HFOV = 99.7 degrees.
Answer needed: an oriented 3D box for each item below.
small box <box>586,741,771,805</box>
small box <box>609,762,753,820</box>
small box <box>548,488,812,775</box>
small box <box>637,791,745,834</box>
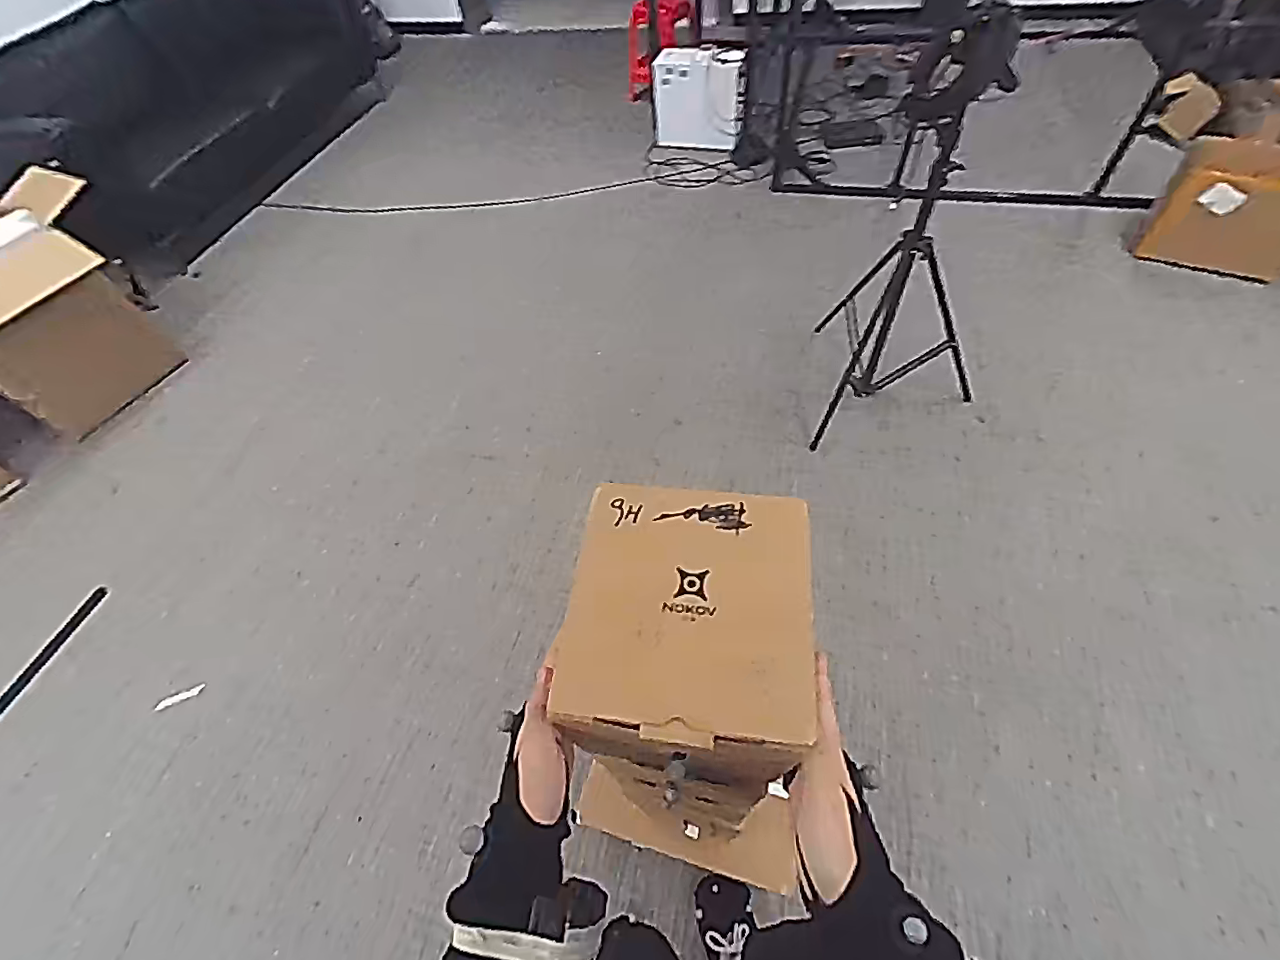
[{"bbox_3d":[0.055,0.223,0.573,0.168,0.176,0.179,8,58,12],"label":"small box"},{"bbox_3d":[0.070,0.320,0.705,0.168,0.176,0.179,10,58,13],"label":"small box"},{"bbox_3d":[0.039,0.128,0.436,0.168,0.176,0.179,4,57,7],"label":"small box"},{"bbox_3d":[0.104,0.517,0.964,0.179,0.176,0.168,10,58,12],"label":"small box"}]
